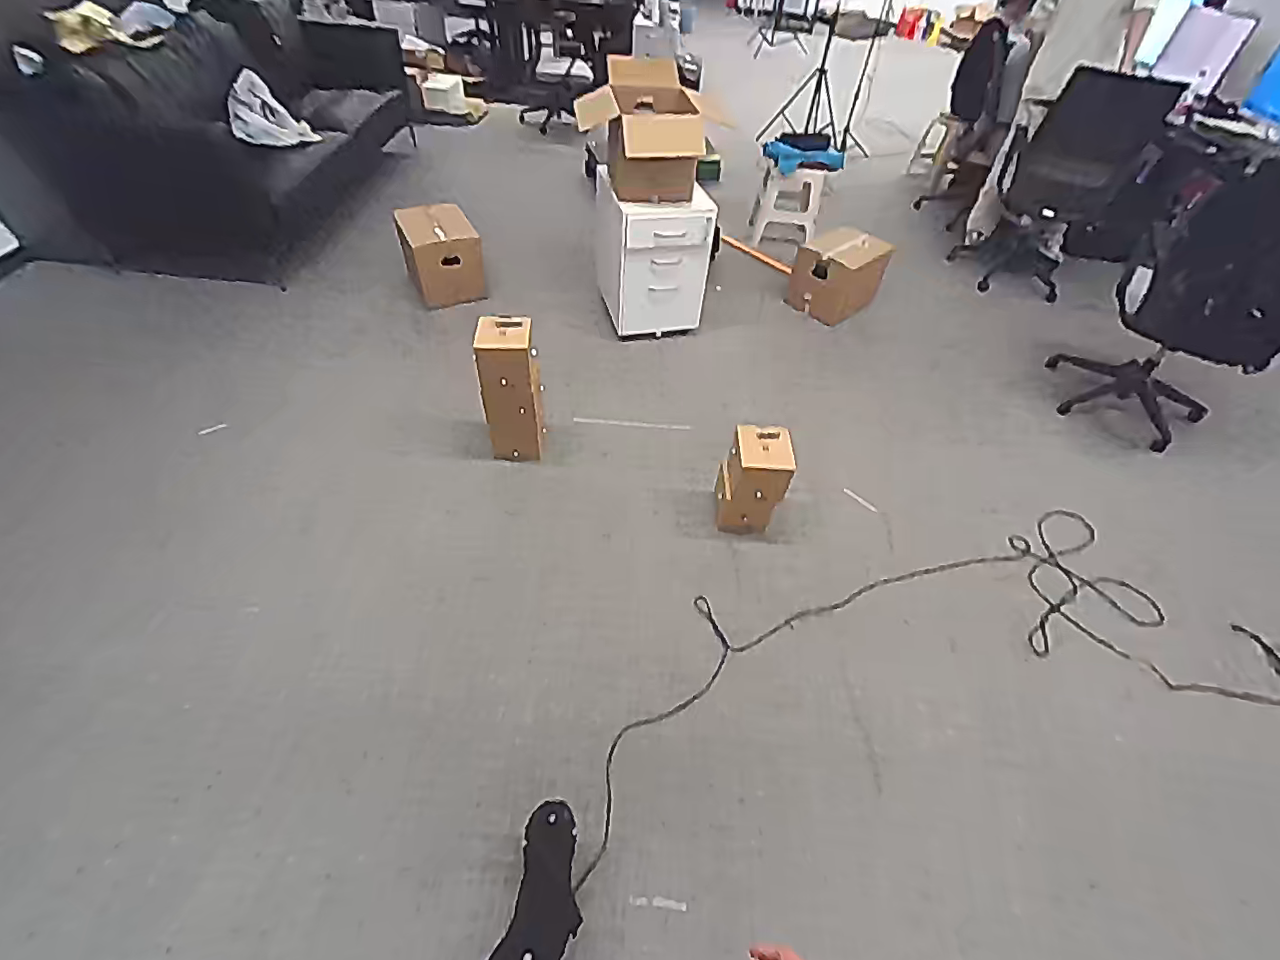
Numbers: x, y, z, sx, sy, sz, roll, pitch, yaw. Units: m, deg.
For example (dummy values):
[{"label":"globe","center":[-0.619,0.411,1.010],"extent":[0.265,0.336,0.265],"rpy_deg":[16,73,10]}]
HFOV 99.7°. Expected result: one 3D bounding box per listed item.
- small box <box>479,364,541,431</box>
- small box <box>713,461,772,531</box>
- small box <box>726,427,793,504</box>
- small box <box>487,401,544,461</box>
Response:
[{"label":"small box","center":[-0.444,-0.285,1.880],"extent":[0.179,0.176,0.168],"rpy_deg":[0,47,-3]},{"label":"small box","center":[0.346,0.058,1.844],"extent":[0.168,0.176,0.179],"rpy_deg":[3,48,-2]},{"label":"small box","center":[0.372,-0.045,1.718],"extent":[0.168,0.176,0.179],"rpy_deg":[3,50,-1]},{"label":"small box","center":[-0.454,-0.184,2.008],"extent":[0.179,0.176,0.168],"rpy_deg":[3,48,-2]}]
